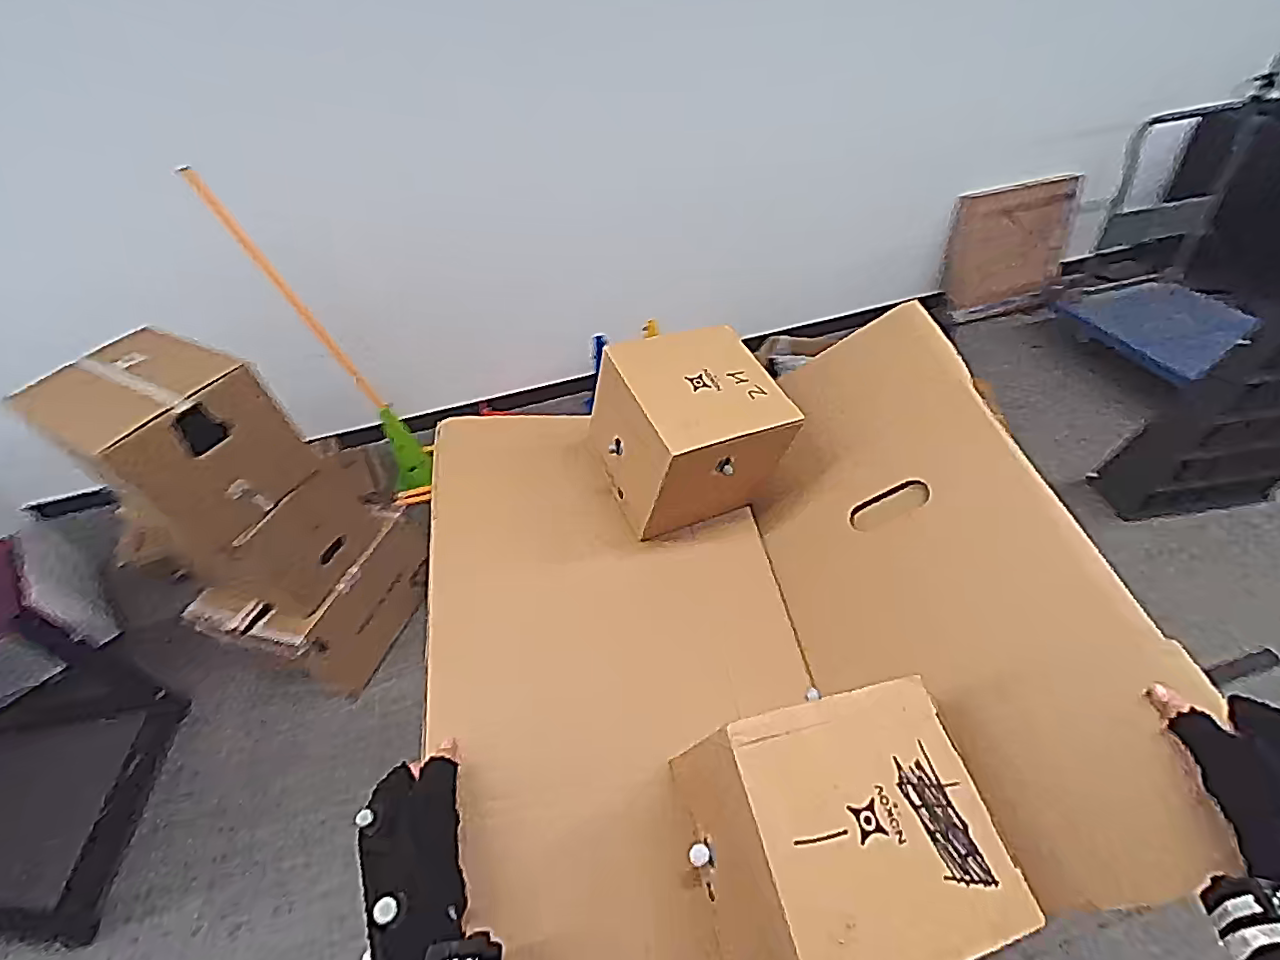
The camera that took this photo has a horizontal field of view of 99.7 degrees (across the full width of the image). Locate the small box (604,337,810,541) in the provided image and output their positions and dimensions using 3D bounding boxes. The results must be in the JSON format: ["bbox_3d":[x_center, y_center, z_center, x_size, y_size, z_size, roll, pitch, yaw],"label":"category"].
[{"bbox_3d":[0.065,-0.047,0.660,0.179,0.176,0.168,-15,59,-24],"label":"small box"}]
